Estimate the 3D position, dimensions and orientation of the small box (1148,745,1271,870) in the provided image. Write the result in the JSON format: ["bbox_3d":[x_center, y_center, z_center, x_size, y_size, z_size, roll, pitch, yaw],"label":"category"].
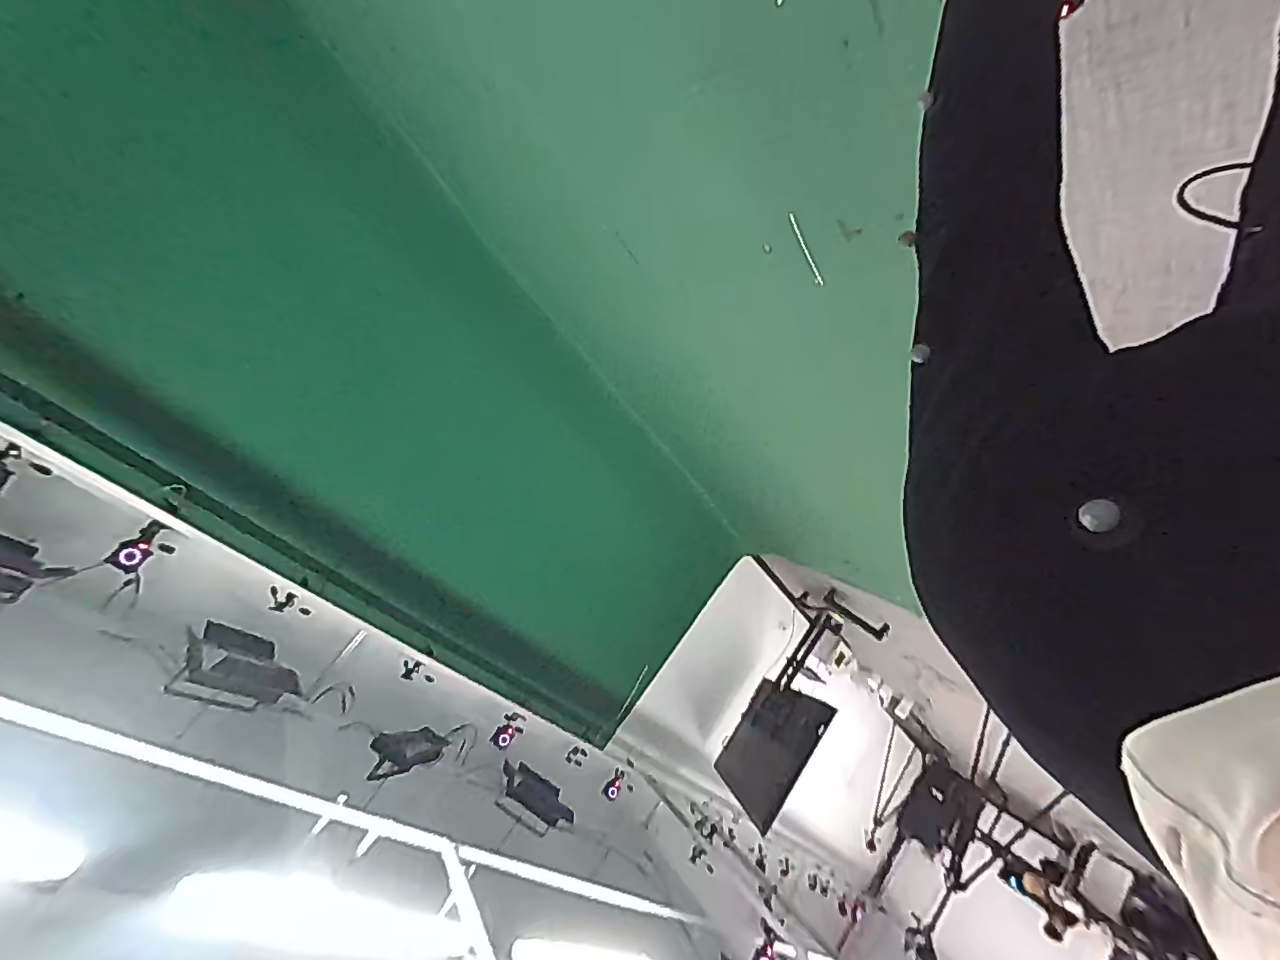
[{"bbox_3d":[1.337,0.763,1.274,0.179,0.176,0.168,46,165,-33],"label":"small box"}]
